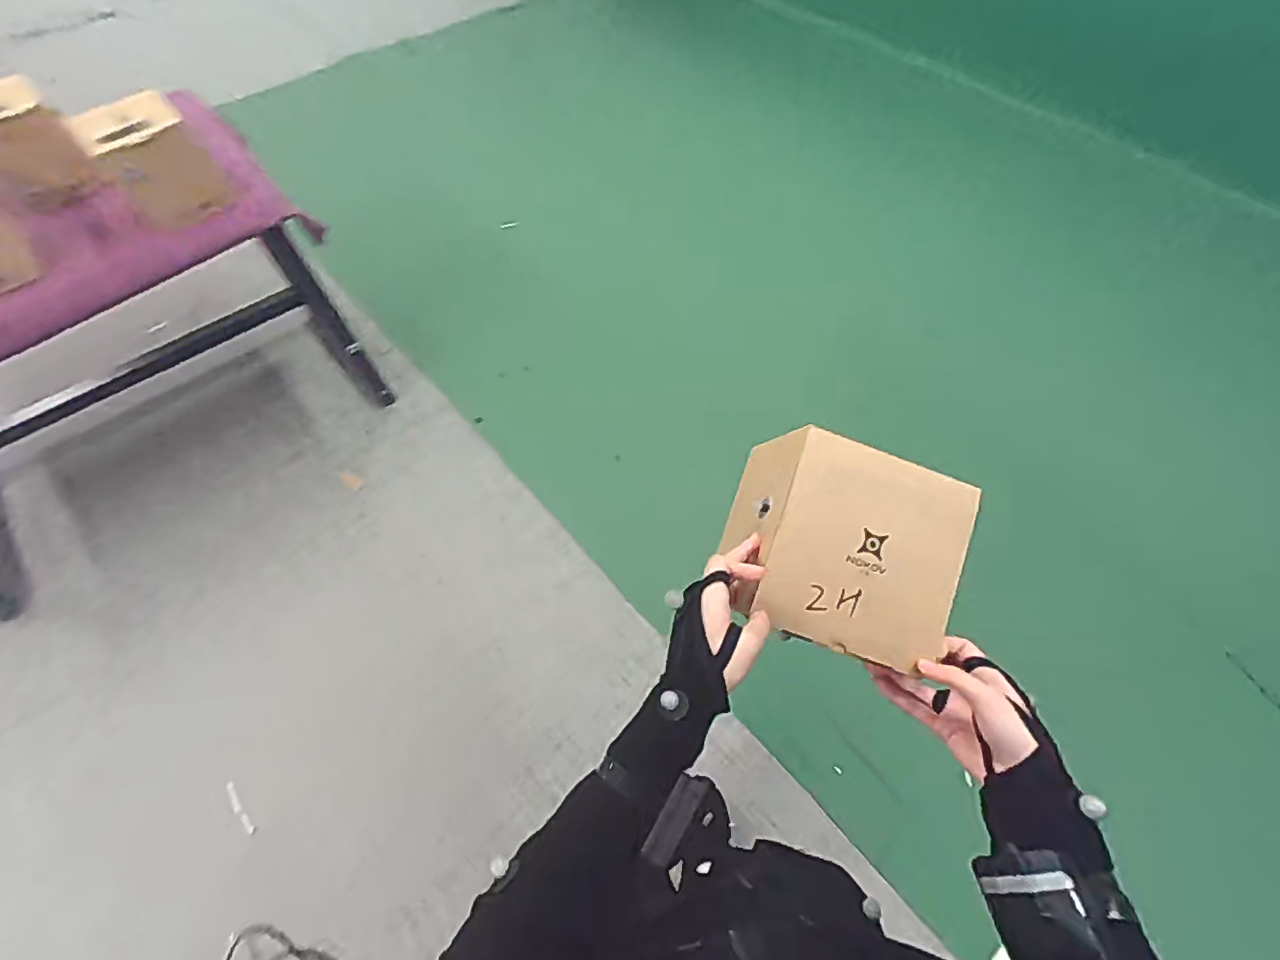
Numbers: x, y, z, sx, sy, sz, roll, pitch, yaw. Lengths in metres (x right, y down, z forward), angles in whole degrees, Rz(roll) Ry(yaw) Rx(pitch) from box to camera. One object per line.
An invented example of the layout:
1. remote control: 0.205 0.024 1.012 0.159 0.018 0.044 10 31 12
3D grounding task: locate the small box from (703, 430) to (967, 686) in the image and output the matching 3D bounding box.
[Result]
1. small box: 0.174 0.071 0.535 0.168 0.176 0.179 20 83 -3

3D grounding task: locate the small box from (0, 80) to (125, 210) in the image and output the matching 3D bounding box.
1. small box: -1.283 -0.717 1.171 0.168 0.176 0.179 -38 65 -20
